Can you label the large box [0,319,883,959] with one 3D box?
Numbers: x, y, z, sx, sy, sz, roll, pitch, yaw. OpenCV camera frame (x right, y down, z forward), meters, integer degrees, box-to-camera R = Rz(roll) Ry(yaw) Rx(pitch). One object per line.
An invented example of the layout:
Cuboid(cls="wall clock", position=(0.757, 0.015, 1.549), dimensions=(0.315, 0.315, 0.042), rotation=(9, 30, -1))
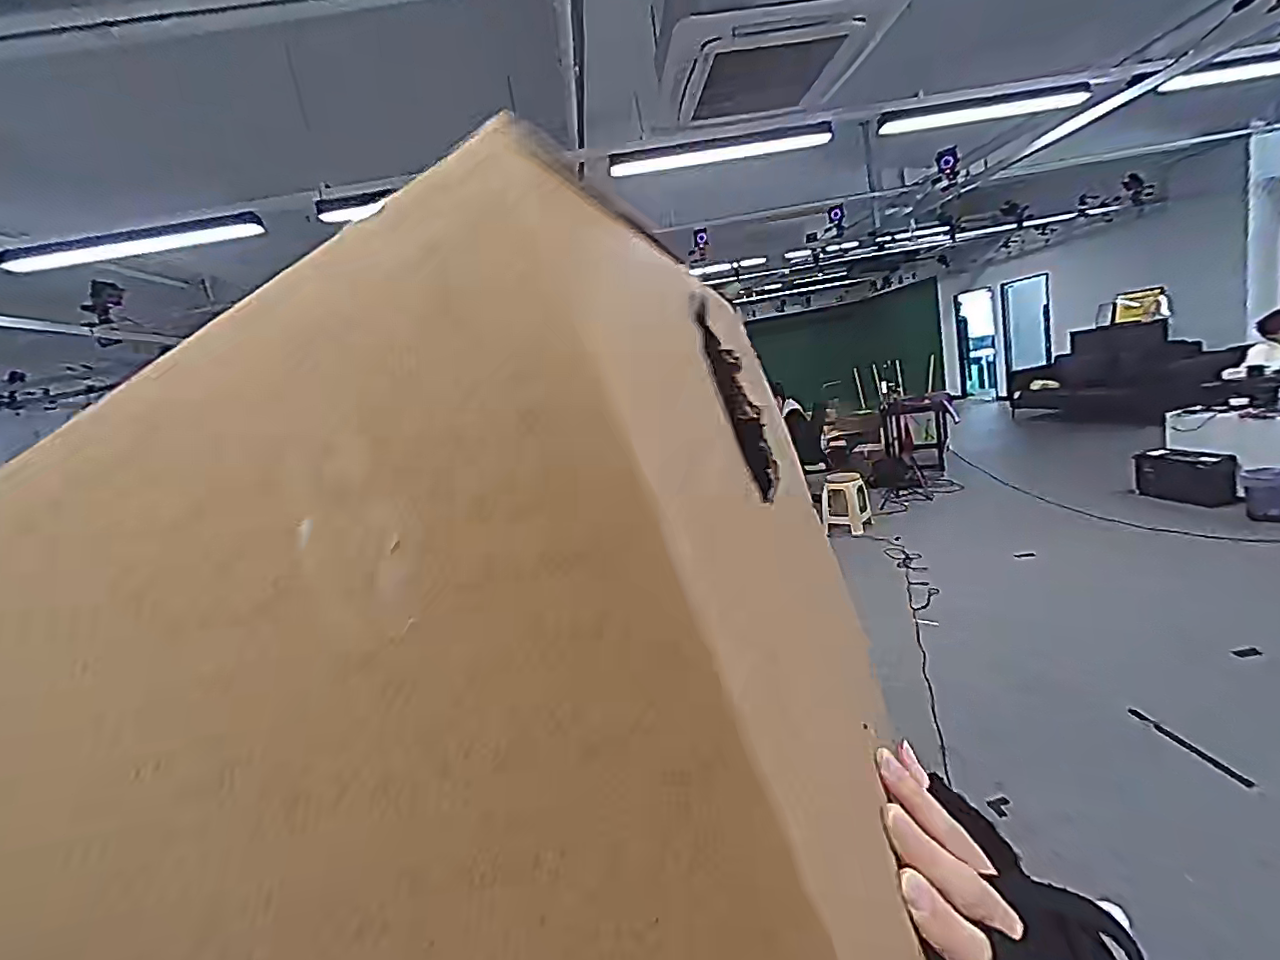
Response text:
Cuboid(cls="large box", position=(-0.105, 0.136, 0.344), dimensions=(0.408, 0.320, 0.320), rotation=(-20, 7, 21))
